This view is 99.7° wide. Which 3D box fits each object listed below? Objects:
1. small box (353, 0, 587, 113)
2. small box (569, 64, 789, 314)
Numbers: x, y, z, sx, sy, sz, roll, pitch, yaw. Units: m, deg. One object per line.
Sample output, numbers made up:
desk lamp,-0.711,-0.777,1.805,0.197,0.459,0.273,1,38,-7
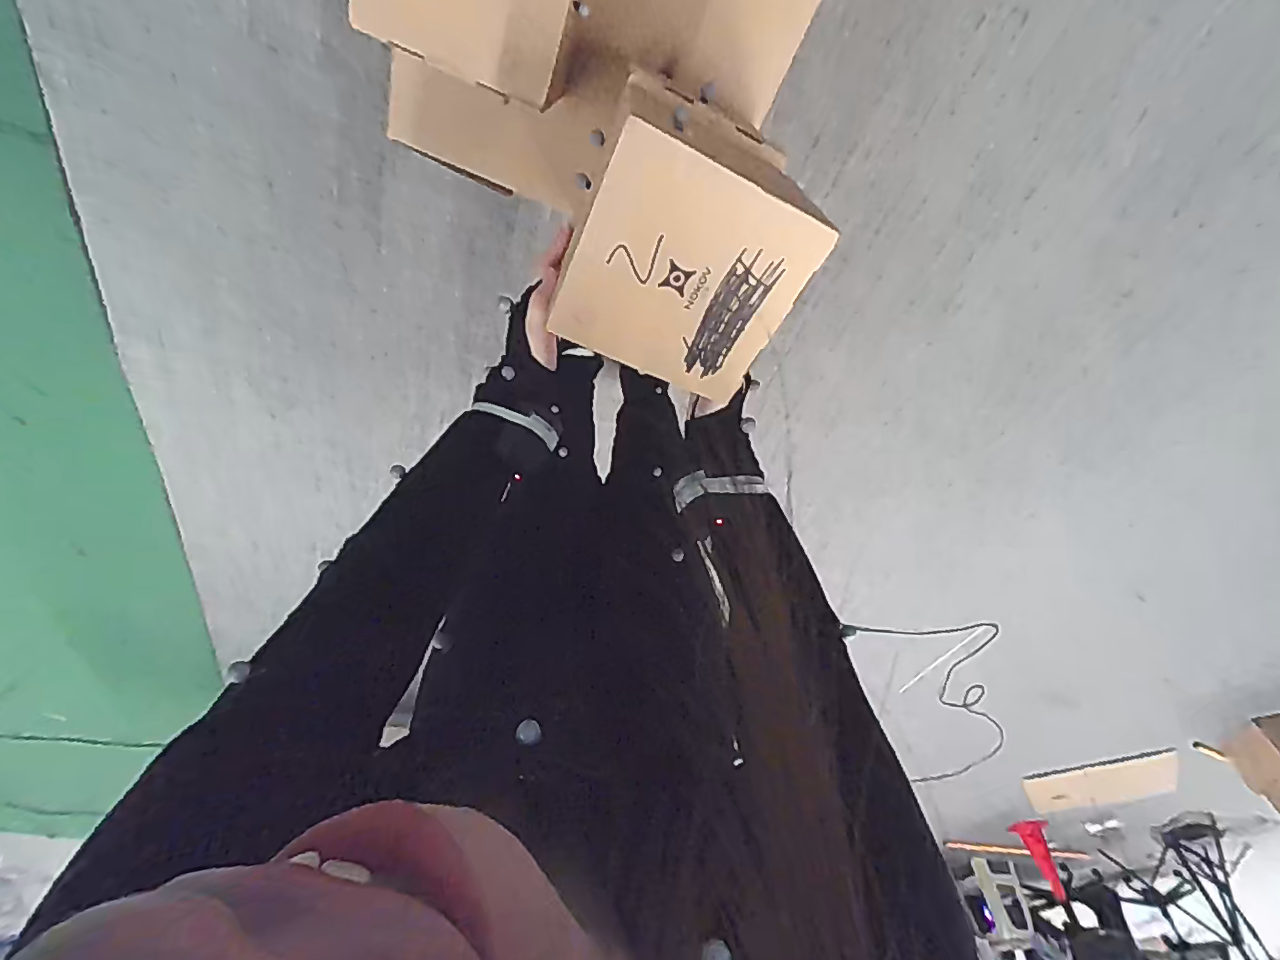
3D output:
small box,-0.129,-0.464,0.476,0.168,0.176,0.179,17,127,-15
small box,0.030,-0.322,0.596,0.168,0.176,0.179,19,127,-17
